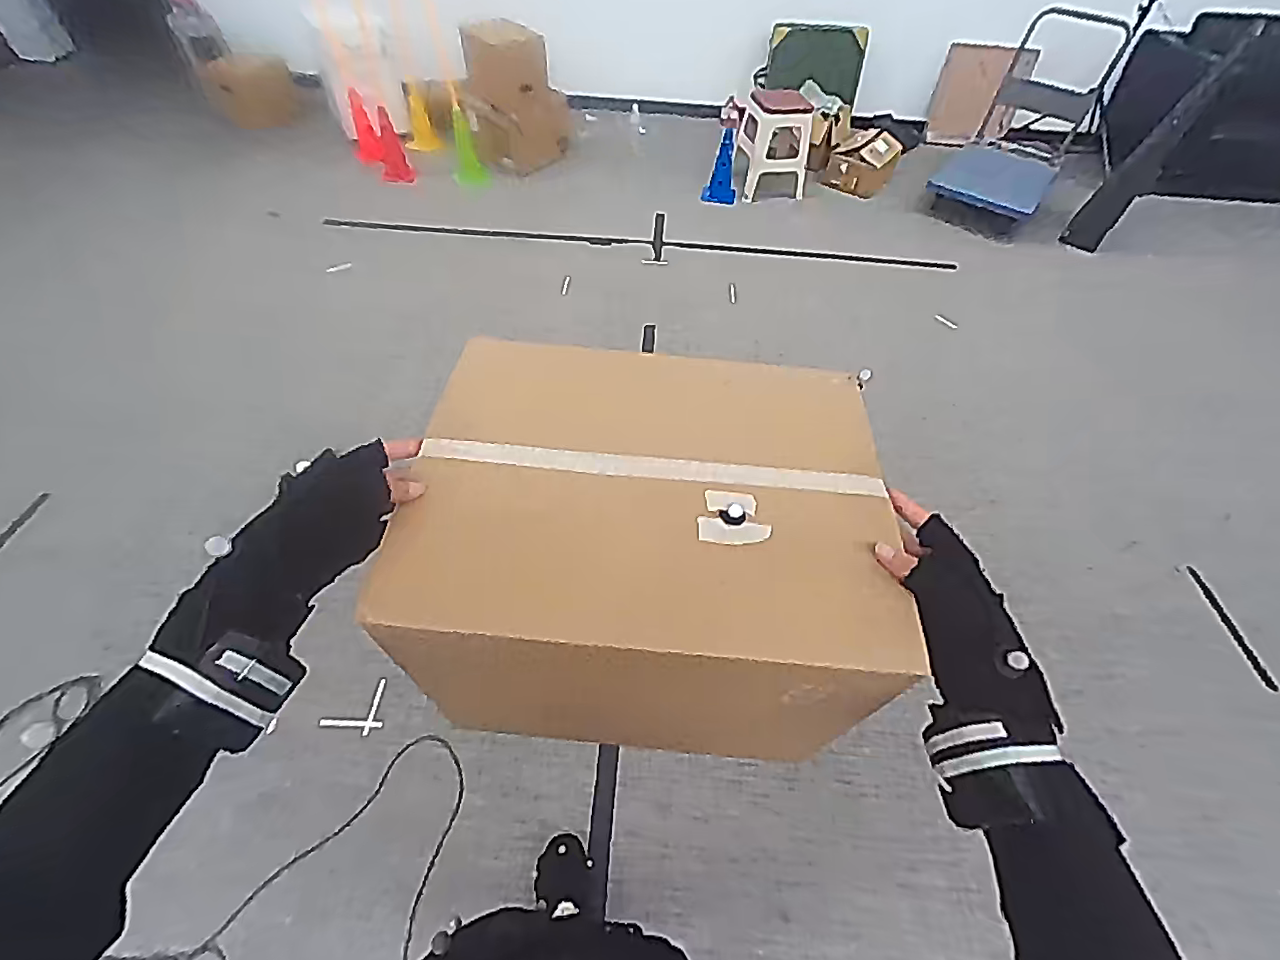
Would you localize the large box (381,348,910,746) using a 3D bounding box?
[{"bbox_3d":[0.005,0.085,0.605,0.408,0.320,0.320,6,53,0],"label":"large box"}]
